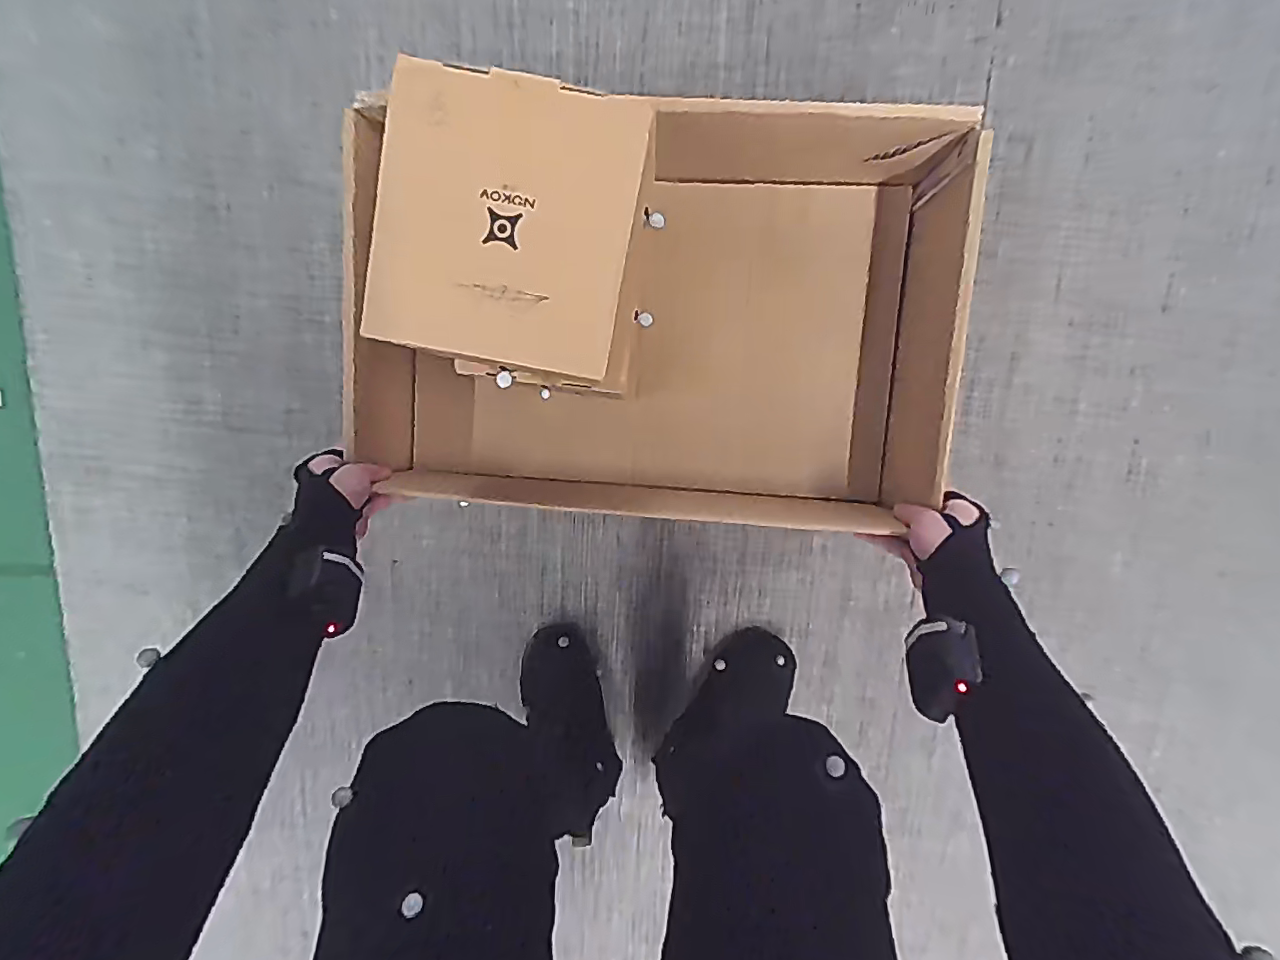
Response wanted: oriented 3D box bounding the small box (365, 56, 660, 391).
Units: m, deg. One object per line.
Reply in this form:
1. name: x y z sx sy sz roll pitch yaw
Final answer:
1. small box: -0.084 -0.174 0.426 0.168 0.176 0.179 11 97 0

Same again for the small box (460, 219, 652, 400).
1. small box: -0.081 -0.186 0.588 0.168 0.176 0.179 7 97 0
